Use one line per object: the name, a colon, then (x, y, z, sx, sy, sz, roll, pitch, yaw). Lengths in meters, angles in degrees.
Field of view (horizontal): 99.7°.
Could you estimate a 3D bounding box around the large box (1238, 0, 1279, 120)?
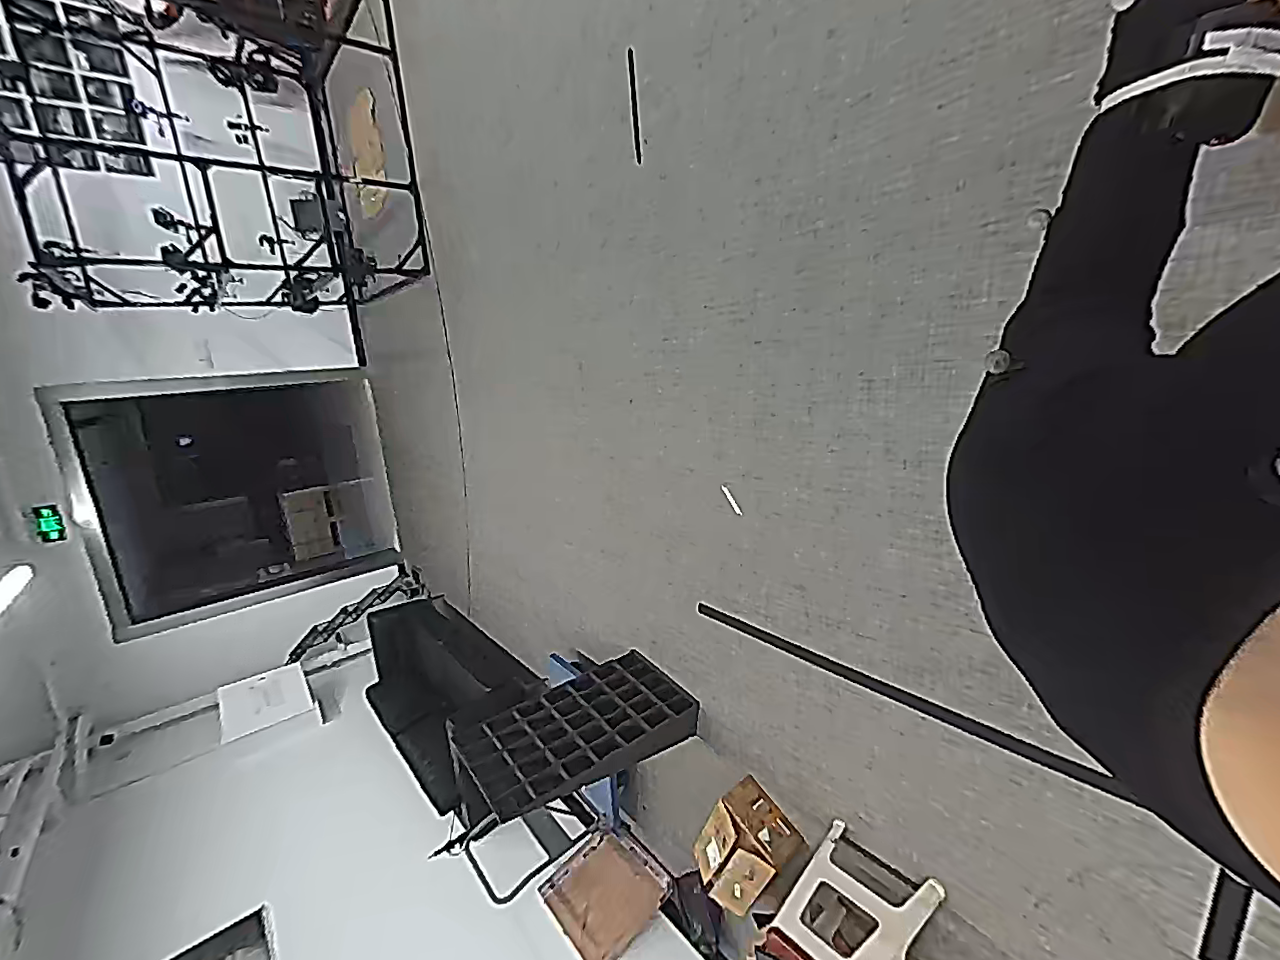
large box: (0.627, -0.430, 0.262, 0.408, 0.320, 0.320, 17, 117, 47)
